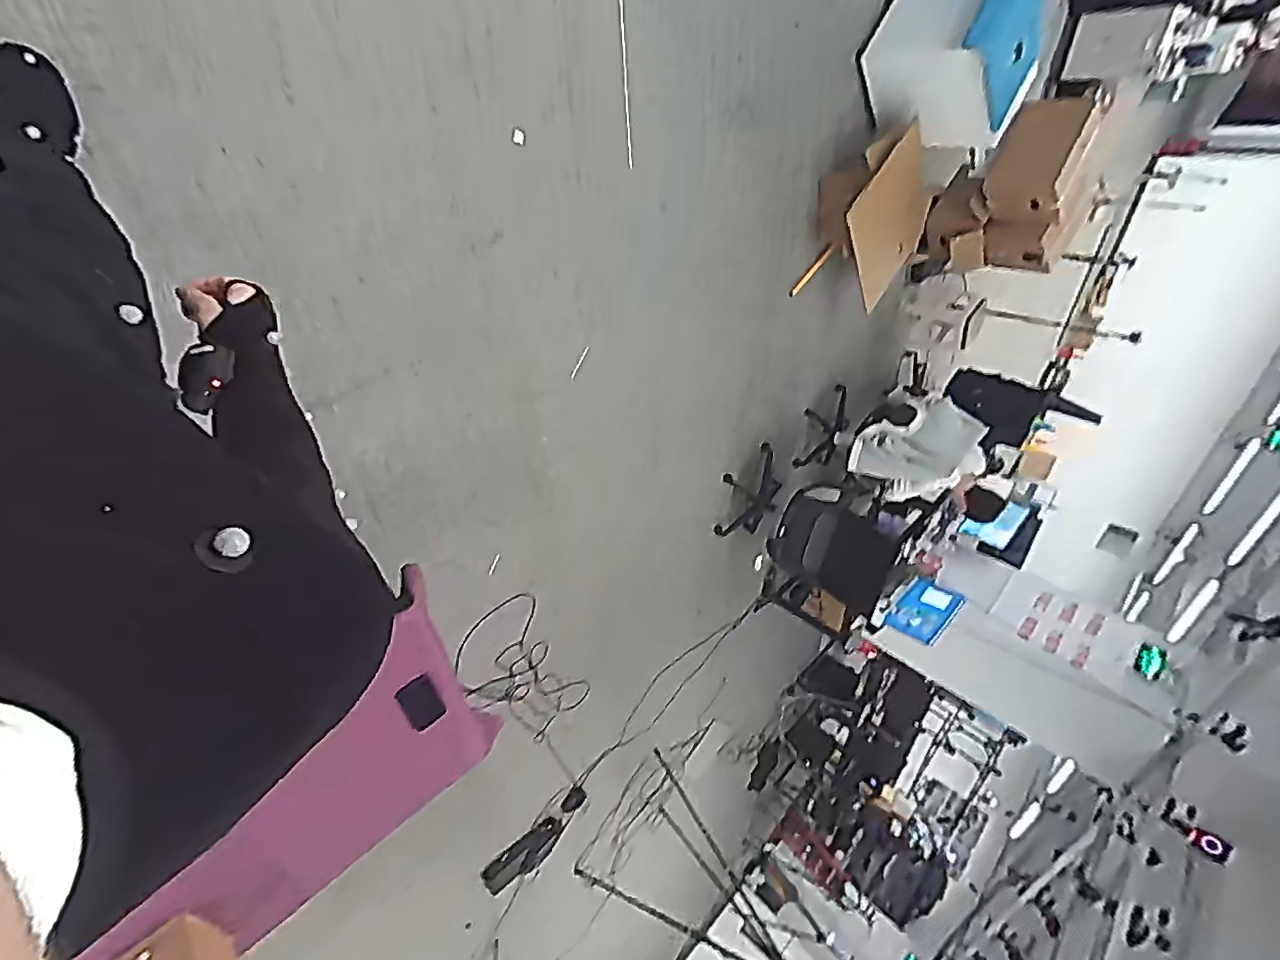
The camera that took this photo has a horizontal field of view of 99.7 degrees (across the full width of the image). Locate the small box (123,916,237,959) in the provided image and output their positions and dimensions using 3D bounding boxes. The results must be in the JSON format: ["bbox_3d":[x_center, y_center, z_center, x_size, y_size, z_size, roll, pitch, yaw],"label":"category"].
[{"bbox_3d":[-0.843,0.944,0.971,0.168,0.176,0.179,-31,132,-33],"label":"small box"}]
